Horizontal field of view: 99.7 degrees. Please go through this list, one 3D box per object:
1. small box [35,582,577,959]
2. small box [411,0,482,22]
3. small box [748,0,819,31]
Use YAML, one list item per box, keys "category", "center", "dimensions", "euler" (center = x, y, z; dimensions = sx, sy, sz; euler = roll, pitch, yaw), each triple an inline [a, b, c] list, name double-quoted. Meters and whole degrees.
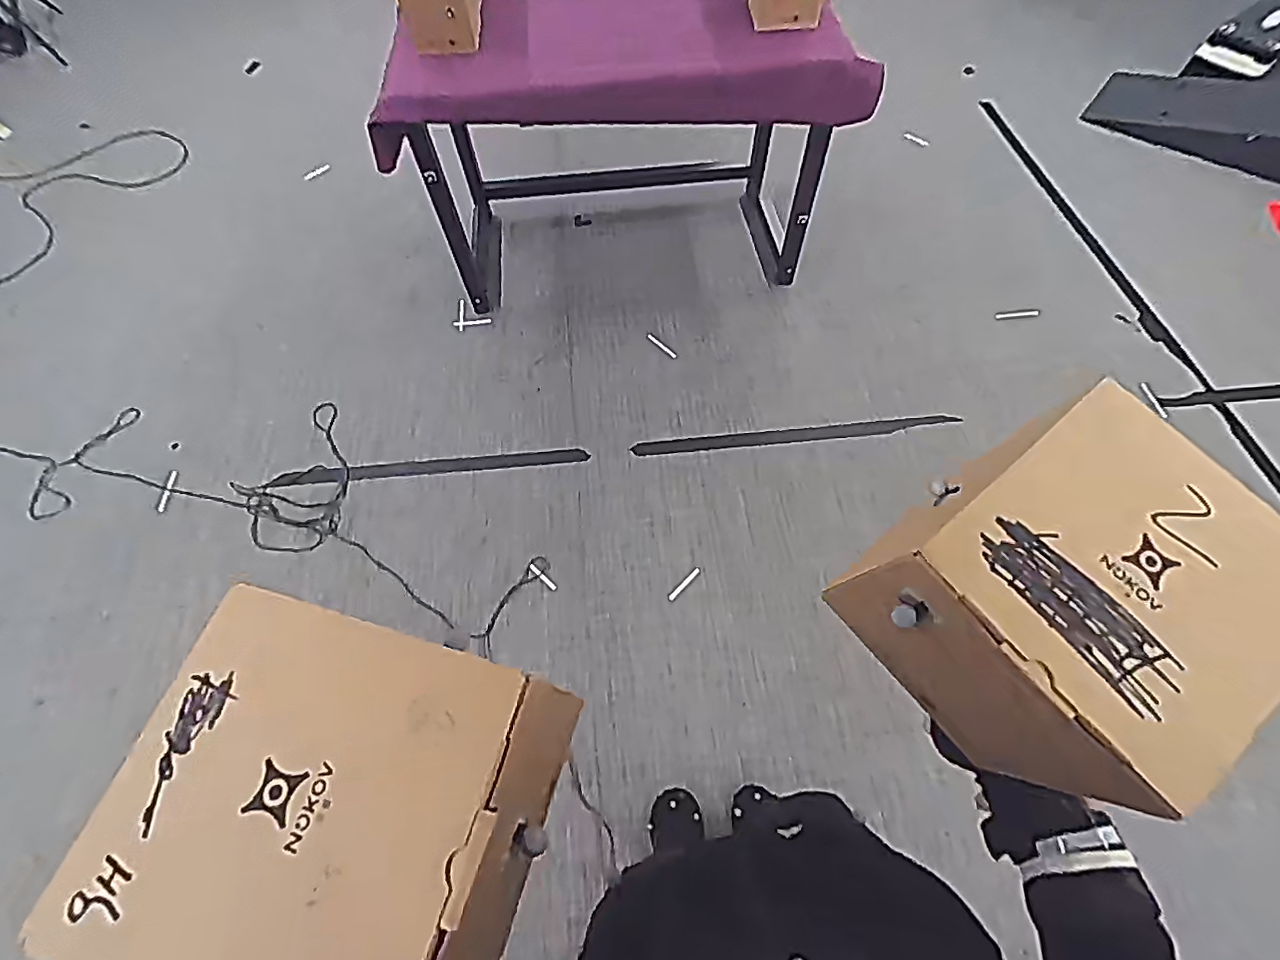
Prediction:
- category: "small box"
  center: [-0.148, 0.178, 0.319]
  dimensions: [0.179, 0.176, 0.168]
  euler: [14, 67, 9]
- category: "small box"
  center: [-0.552, -1.409, 1.499]
  dimensions: [0.179, 0.176, 0.168]
  euler: [-3, 63, -1]
- category: "small box"
  center: [0.385, -1.320, 1.428]
  dimensions: [0.168, 0.176, 0.179]
  euler: [-2, 61, 2]
